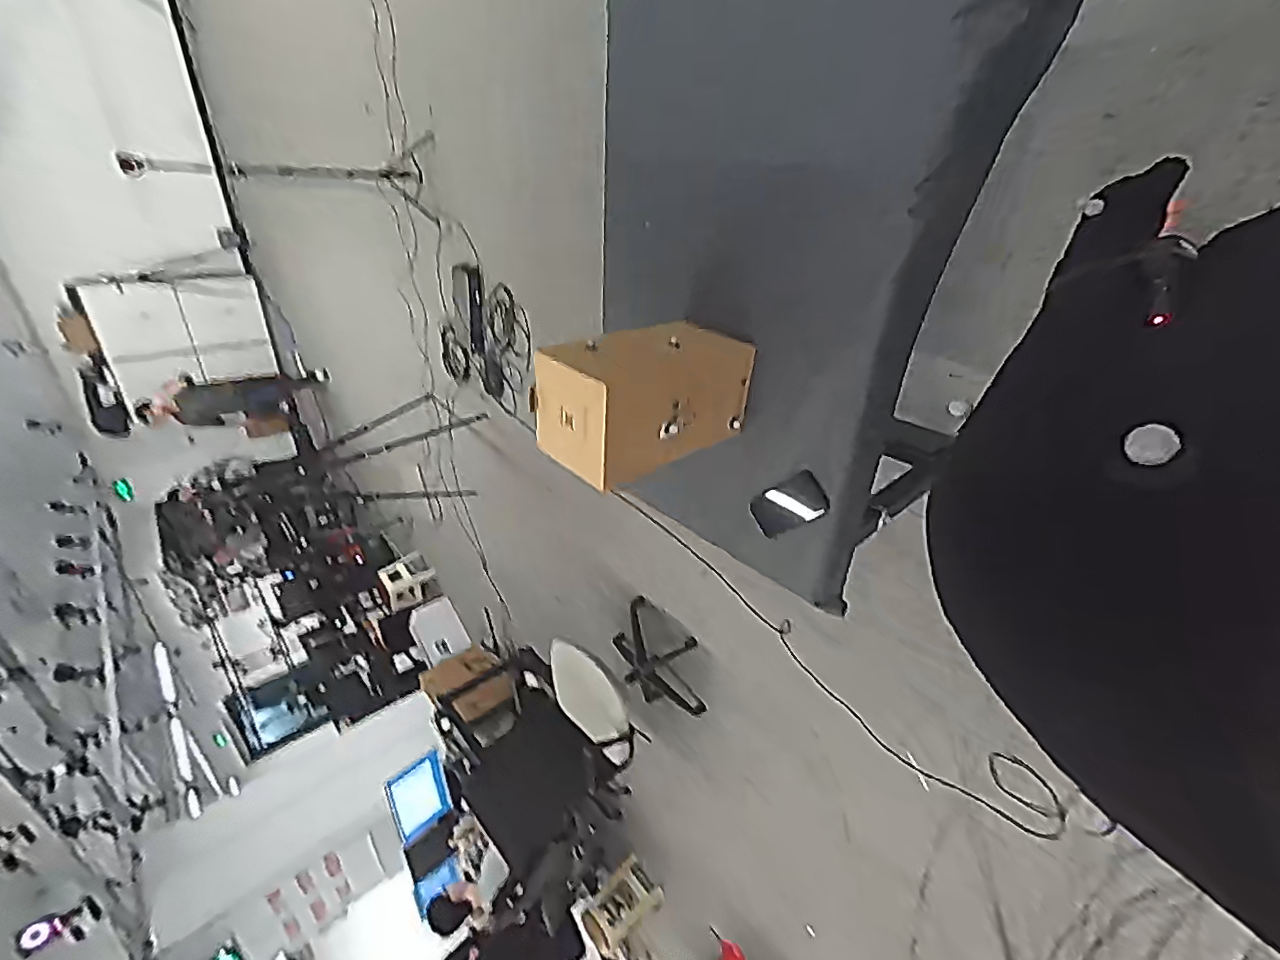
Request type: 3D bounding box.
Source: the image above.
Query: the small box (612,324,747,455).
[{"bbox_3d":[0.065,-0.169,0.951,0.179,0.176,0.168,32,130,38],"label":"small box"}]

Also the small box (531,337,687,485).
[{"bbox_3d":[-0.051,-0.118,0.849,0.179,0.176,0.168,30,130,37],"label":"small box"}]
